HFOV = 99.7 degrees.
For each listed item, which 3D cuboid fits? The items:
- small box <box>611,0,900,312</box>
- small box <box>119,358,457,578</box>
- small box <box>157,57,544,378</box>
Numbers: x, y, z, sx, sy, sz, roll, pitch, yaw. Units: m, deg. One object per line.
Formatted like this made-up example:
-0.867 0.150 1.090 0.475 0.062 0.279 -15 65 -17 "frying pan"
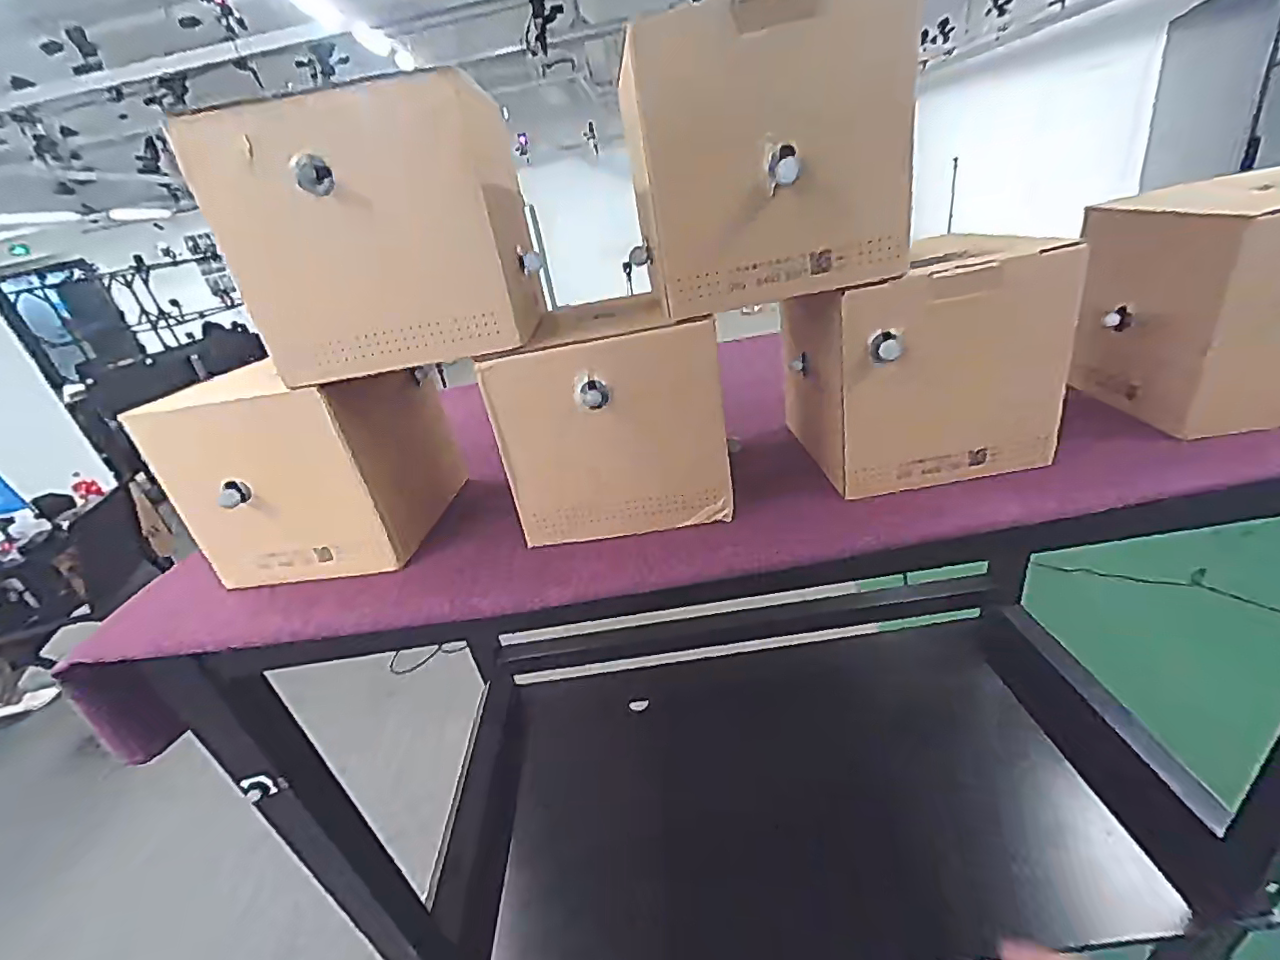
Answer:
0.076 -0.231 0.400 0.168 0.176 0.179 -11 27 1 "small box"
-0.293 -0.022 0.502 0.168 0.176 0.179 -8 26 7 "small box"
-0.186 -0.186 0.415 0.179 0.176 0.168 -9 27 2 "small box"
